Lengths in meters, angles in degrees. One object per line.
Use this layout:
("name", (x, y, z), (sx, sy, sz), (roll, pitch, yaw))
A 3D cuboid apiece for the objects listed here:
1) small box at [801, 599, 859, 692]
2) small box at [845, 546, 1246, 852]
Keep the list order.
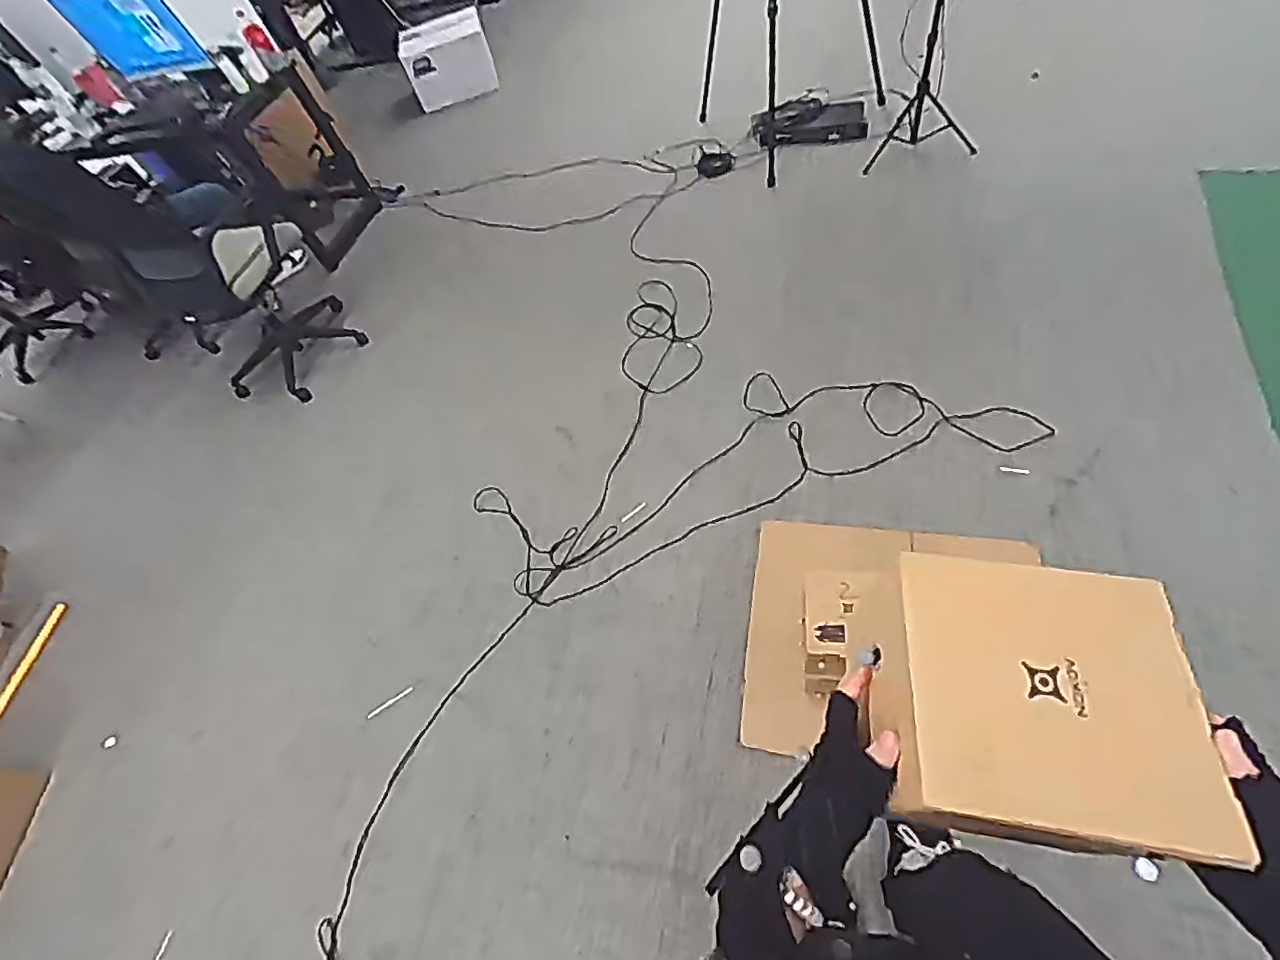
("small box", (0.468, 0.395, 1.271), (0.168, 0.176, 0.179), (0, 58, 15))
("small box", (0.263, 0.168, 0.413), (0.179, 0.176, 0.168), (7, 59, 8))
